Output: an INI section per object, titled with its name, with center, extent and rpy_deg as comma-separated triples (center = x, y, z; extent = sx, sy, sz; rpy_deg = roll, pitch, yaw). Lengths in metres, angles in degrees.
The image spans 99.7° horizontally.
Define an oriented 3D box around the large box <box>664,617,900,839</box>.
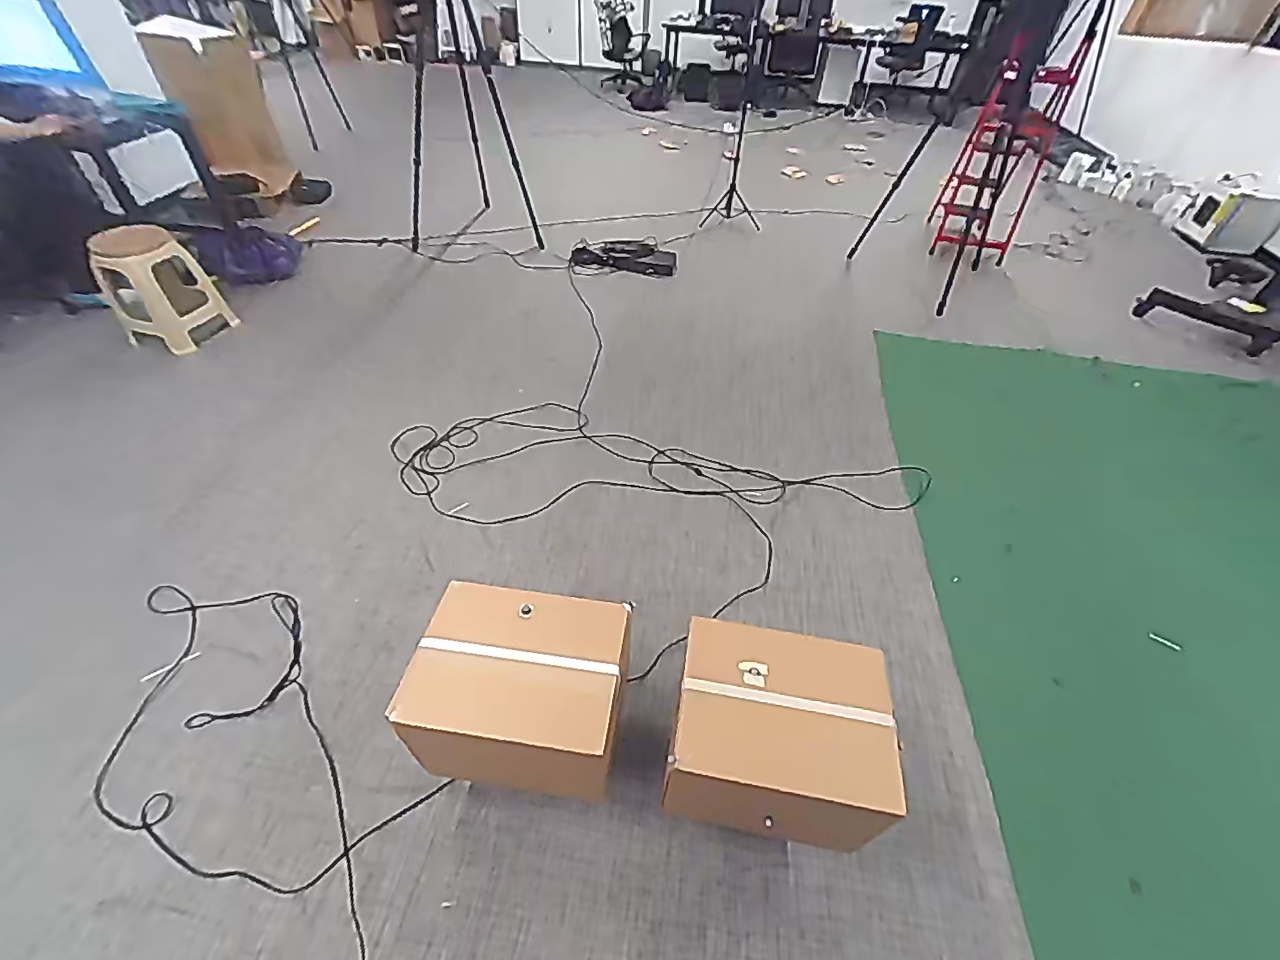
[large box]
center = 0.279, 0.533, 1.161
extent = 0.408, 0.320, 0.320
rpy_deg = 9, 46, 6
